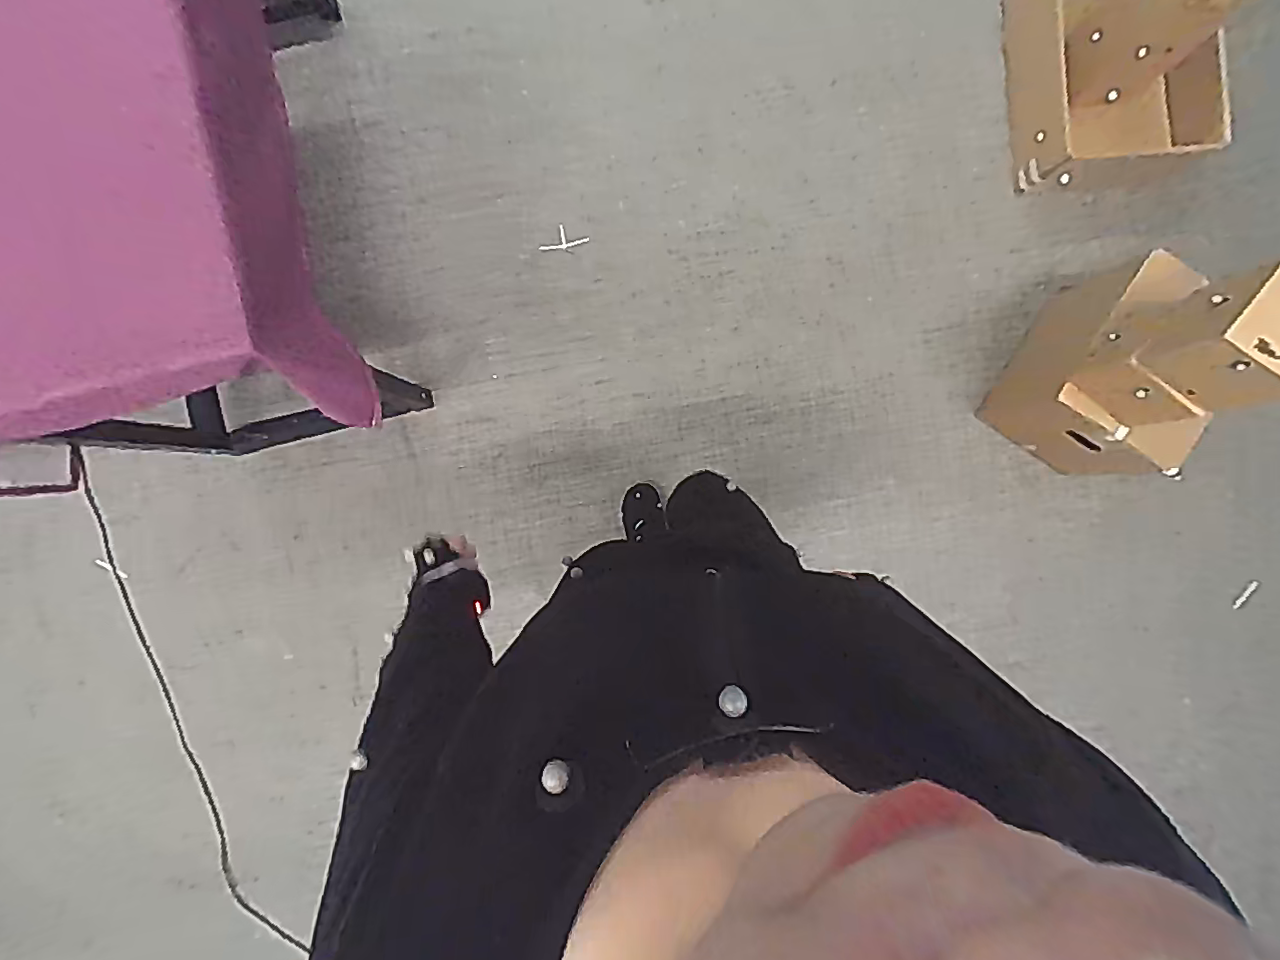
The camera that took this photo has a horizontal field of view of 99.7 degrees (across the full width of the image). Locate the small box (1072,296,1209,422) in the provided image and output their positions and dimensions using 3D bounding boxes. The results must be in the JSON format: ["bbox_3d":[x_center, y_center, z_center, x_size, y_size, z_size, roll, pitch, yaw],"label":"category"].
[{"bbox_3d":[1.059,-0.235,1.106,0.179,0.176,0.168,42,91,4],"label":"small box"}]

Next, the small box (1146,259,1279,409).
[{"bbox_3d":[1.060,-0.249,0.942,0.168,0.176,0.179,38,90,4],"label":"small box"}]

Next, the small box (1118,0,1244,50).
[{"bbox_3d":[1.213,-1.097,1.200,0.168,0.176,0.179,-3,89,1],"label":"small box"}]

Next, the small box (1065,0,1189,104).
[{"bbox_3d":[1.217,-1.095,1.364,0.168,0.176,0.179,-4,90,1],"label":"small box"}]
